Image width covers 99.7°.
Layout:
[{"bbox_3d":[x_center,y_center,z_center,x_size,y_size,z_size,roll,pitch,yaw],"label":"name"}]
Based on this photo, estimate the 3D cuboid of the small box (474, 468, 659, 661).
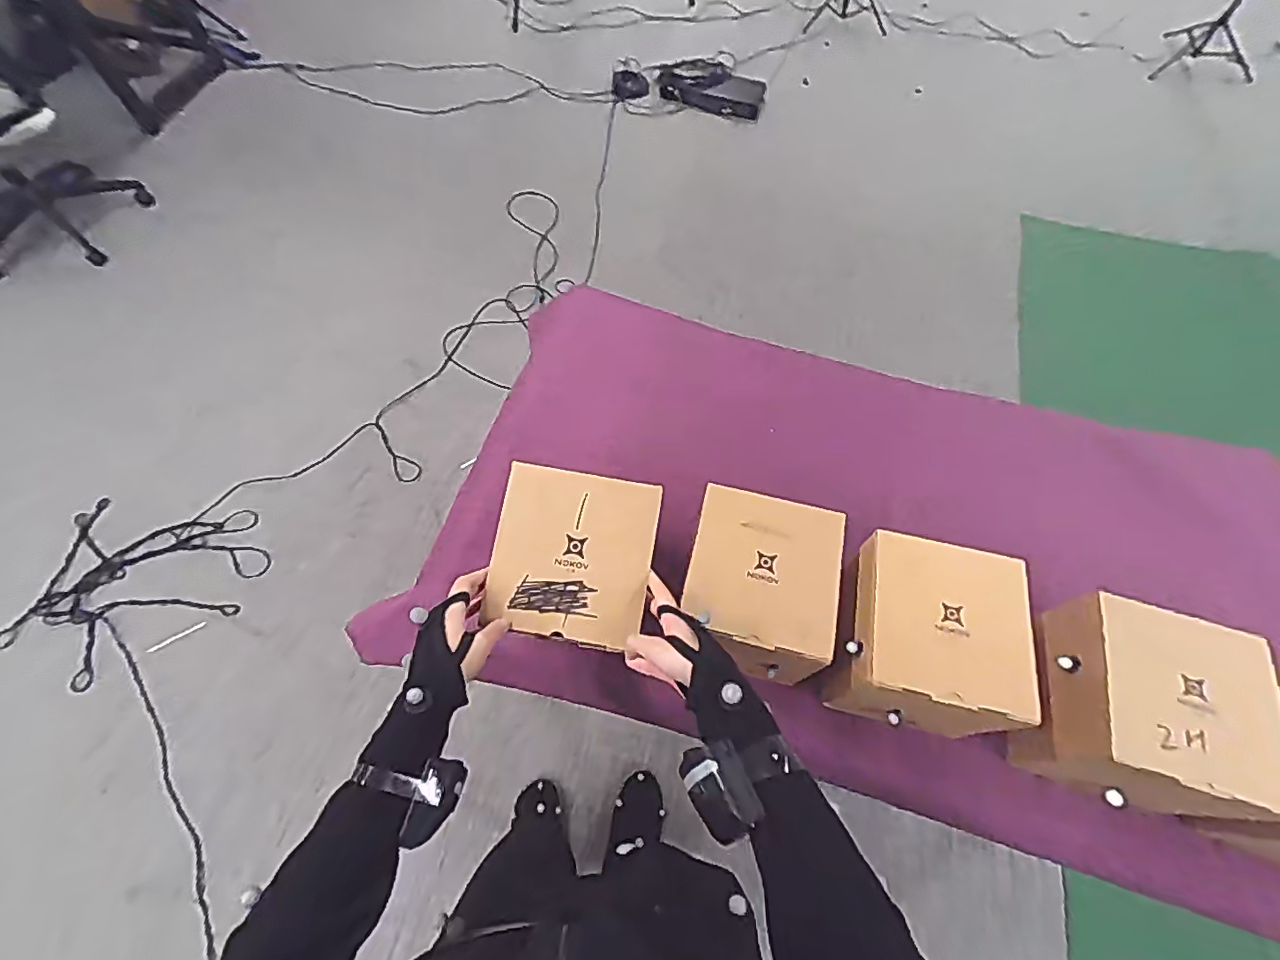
[{"bbox_3d":[-0.074,0.101,0.636,0.168,0.176,0.179,10,78,1],"label":"small box"}]
